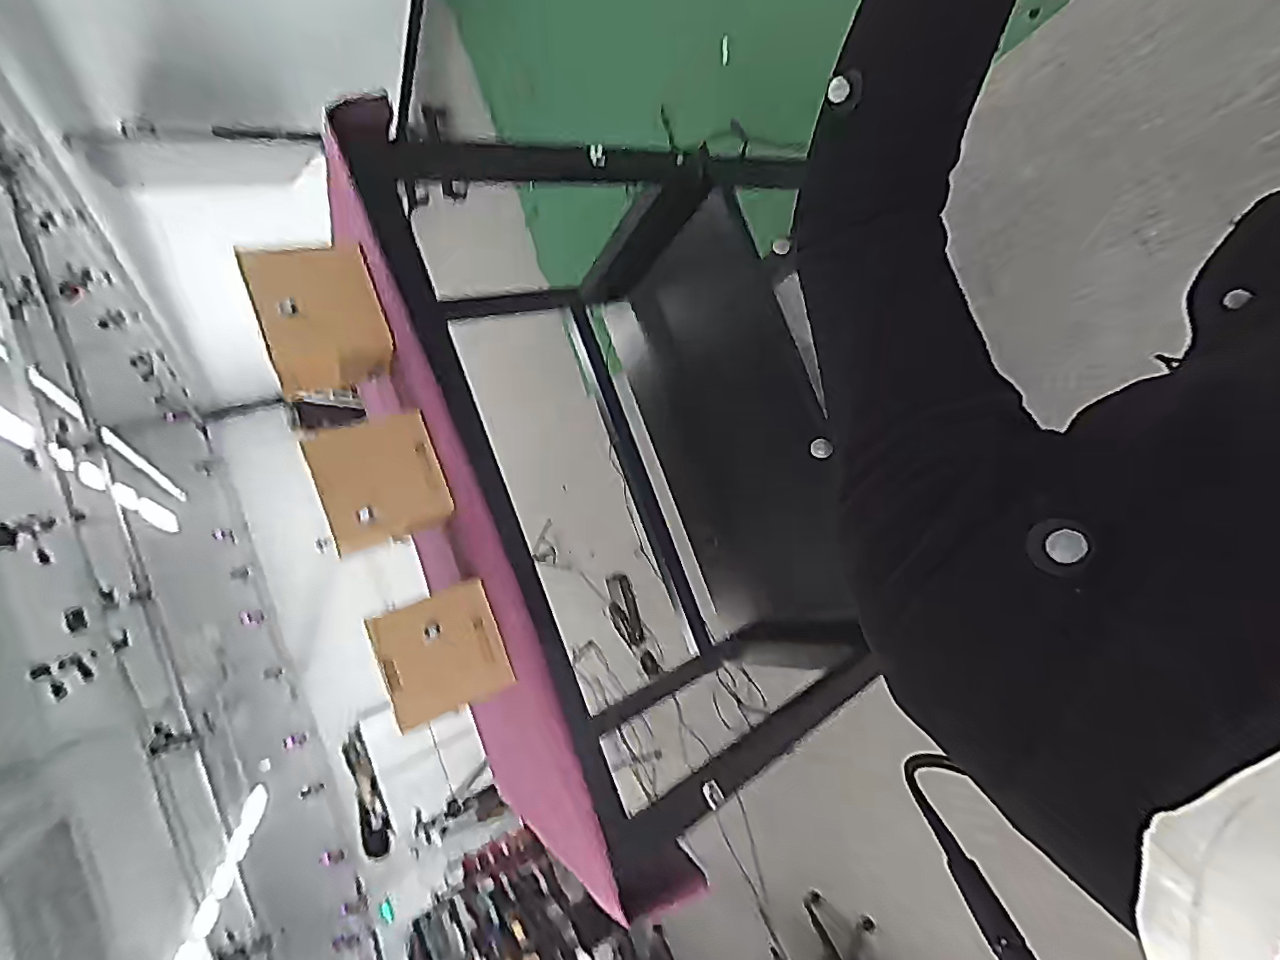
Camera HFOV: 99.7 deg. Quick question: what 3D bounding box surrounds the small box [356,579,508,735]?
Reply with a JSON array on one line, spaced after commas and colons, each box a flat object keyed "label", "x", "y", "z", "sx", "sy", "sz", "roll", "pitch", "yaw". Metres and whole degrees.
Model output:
[{"label": "small box", "x": -0.320, "y": 0.259, "z": 0.835, "sx": 0.179, "sy": 0.176, "sz": 0.168, "roll": -22, "pitch": 87, "yaw": 60}]

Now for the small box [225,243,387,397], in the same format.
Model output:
[{"label": "small box", "x": -0.519, "y": -0.255, "z": 0.863, "sx": 0.168, "sy": 0.176, "sz": 0.179, "roll": -25, "pitch": 85, "yaw": 59}]
